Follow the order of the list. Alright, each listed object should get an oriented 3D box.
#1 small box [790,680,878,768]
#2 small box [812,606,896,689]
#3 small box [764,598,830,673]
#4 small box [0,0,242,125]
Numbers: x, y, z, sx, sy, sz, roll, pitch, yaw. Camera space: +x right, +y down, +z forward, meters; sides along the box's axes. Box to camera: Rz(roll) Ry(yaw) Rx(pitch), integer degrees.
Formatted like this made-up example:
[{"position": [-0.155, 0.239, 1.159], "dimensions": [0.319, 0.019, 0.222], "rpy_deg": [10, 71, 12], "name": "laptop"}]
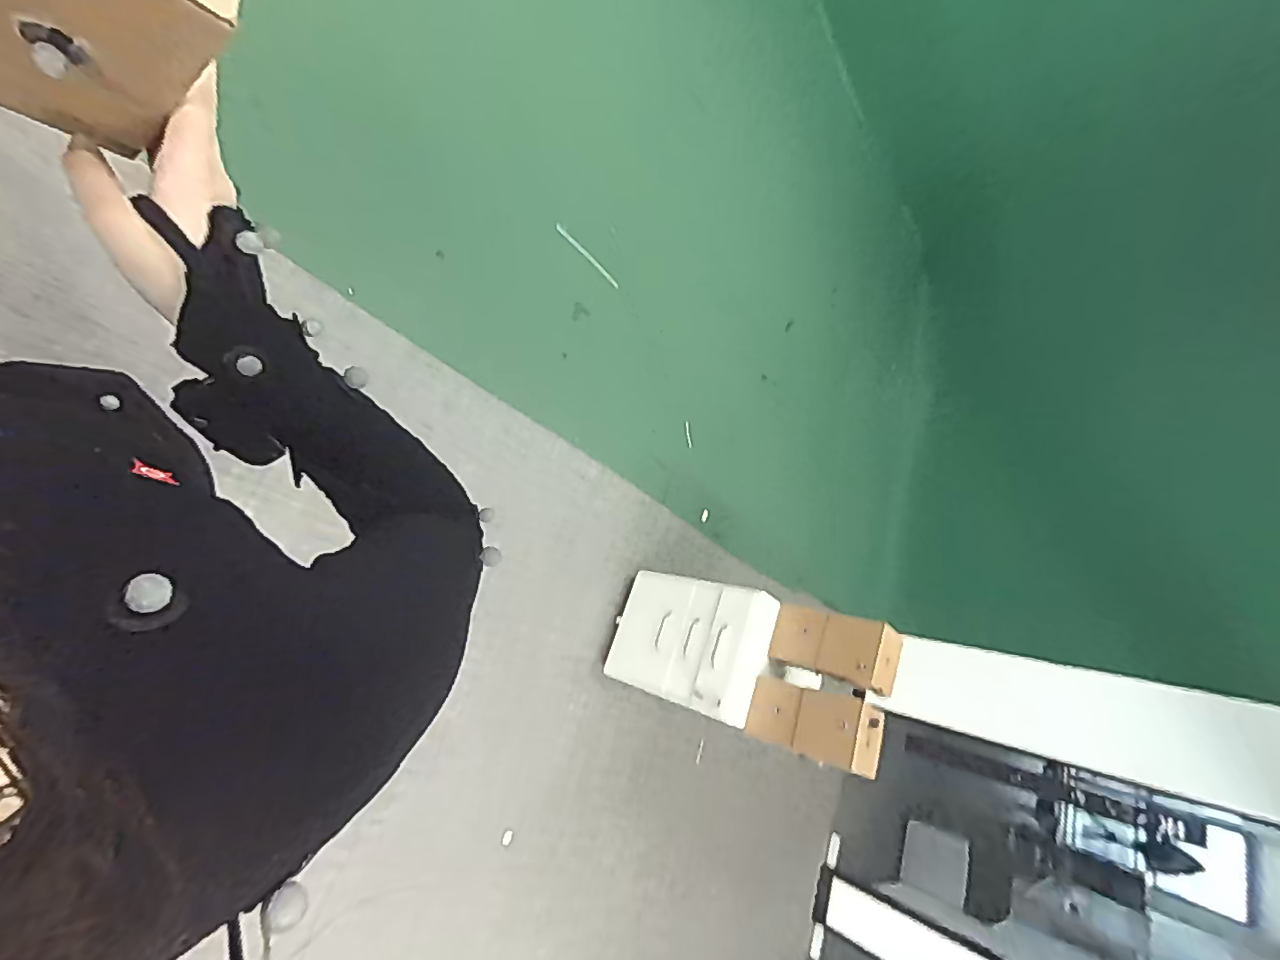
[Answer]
[{"position": [0.539, 0.674, 1.506], "dimensions": [0.168, 0.176, 0.179], "rpy_deg": [36, 64, -39], "name": "small box"}, {"position": [0.631, 0.489, 1.601], "dimensions": [0.168, 0.176, 0.179], "rpy_deg": [37, 67, -39], "name": "small box"}, {"position": [0.518, 0.489, 1.721], "dimensions": [0.168, 0.176, 0.179], "rpy_deg": [35, 68, -39], "name": "small box"}, {"position": [-0.281, -0.279, 0.209], "dimensions": [0.179, 0.176, 0.168], "rpy_deg": [6, 84, -54], "name": "small box"}]
